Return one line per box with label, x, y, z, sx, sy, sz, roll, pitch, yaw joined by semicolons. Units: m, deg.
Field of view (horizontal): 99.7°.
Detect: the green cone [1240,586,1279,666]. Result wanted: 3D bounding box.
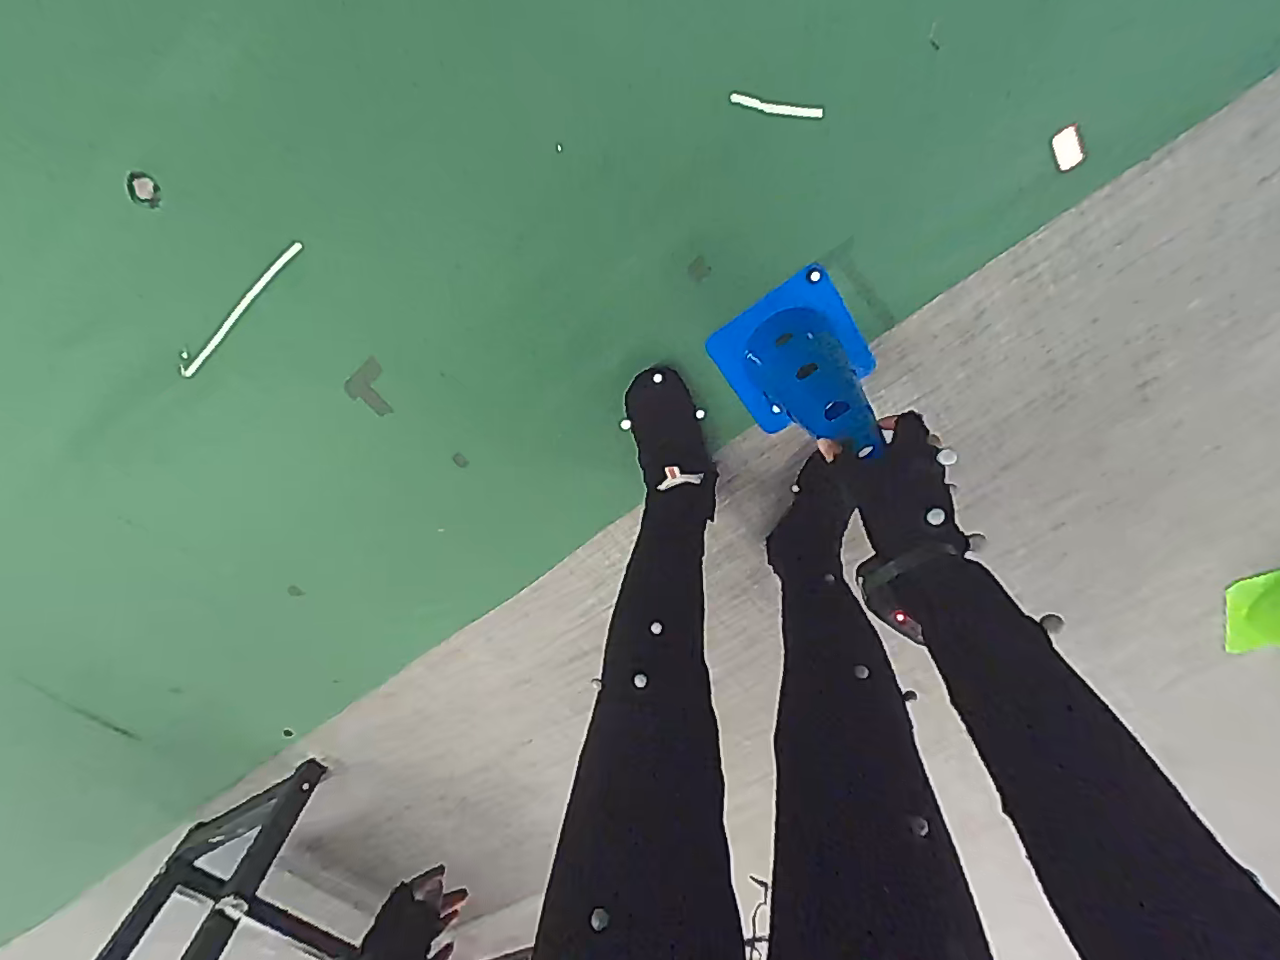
green cone;1.224;0.333;0.853;0.200;0.368;0.202;-24;114;15
